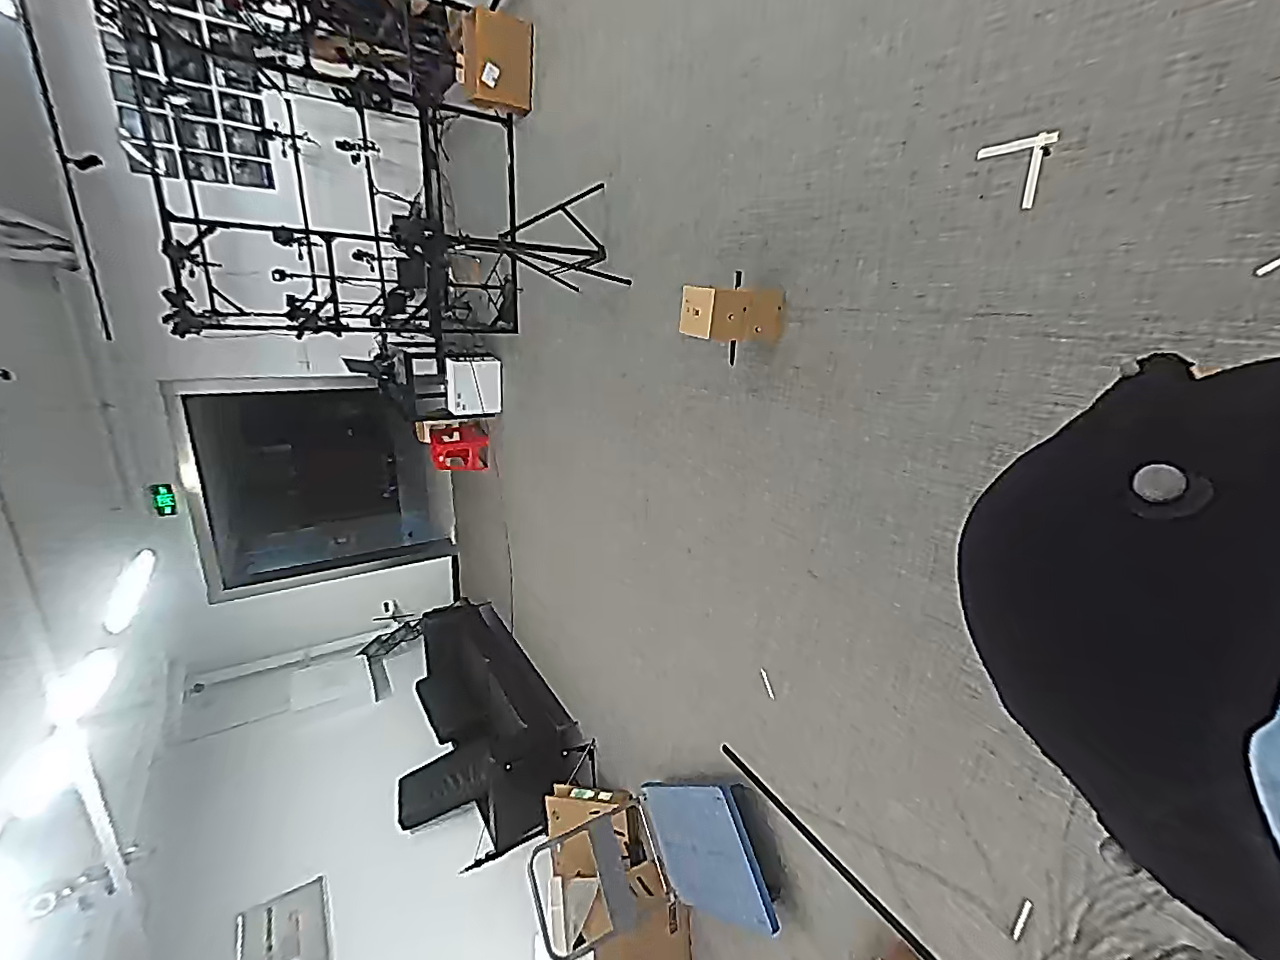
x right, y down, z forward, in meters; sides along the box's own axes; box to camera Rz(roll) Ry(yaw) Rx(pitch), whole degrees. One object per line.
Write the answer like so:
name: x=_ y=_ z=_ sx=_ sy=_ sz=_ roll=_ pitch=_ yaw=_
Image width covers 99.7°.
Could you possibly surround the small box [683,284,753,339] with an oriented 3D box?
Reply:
small box: x=0.274 y=-0.595 z=1.901 sx=0.179 sy=0.176 sz=0.168 roll=35 pitch=126 yaw=51
